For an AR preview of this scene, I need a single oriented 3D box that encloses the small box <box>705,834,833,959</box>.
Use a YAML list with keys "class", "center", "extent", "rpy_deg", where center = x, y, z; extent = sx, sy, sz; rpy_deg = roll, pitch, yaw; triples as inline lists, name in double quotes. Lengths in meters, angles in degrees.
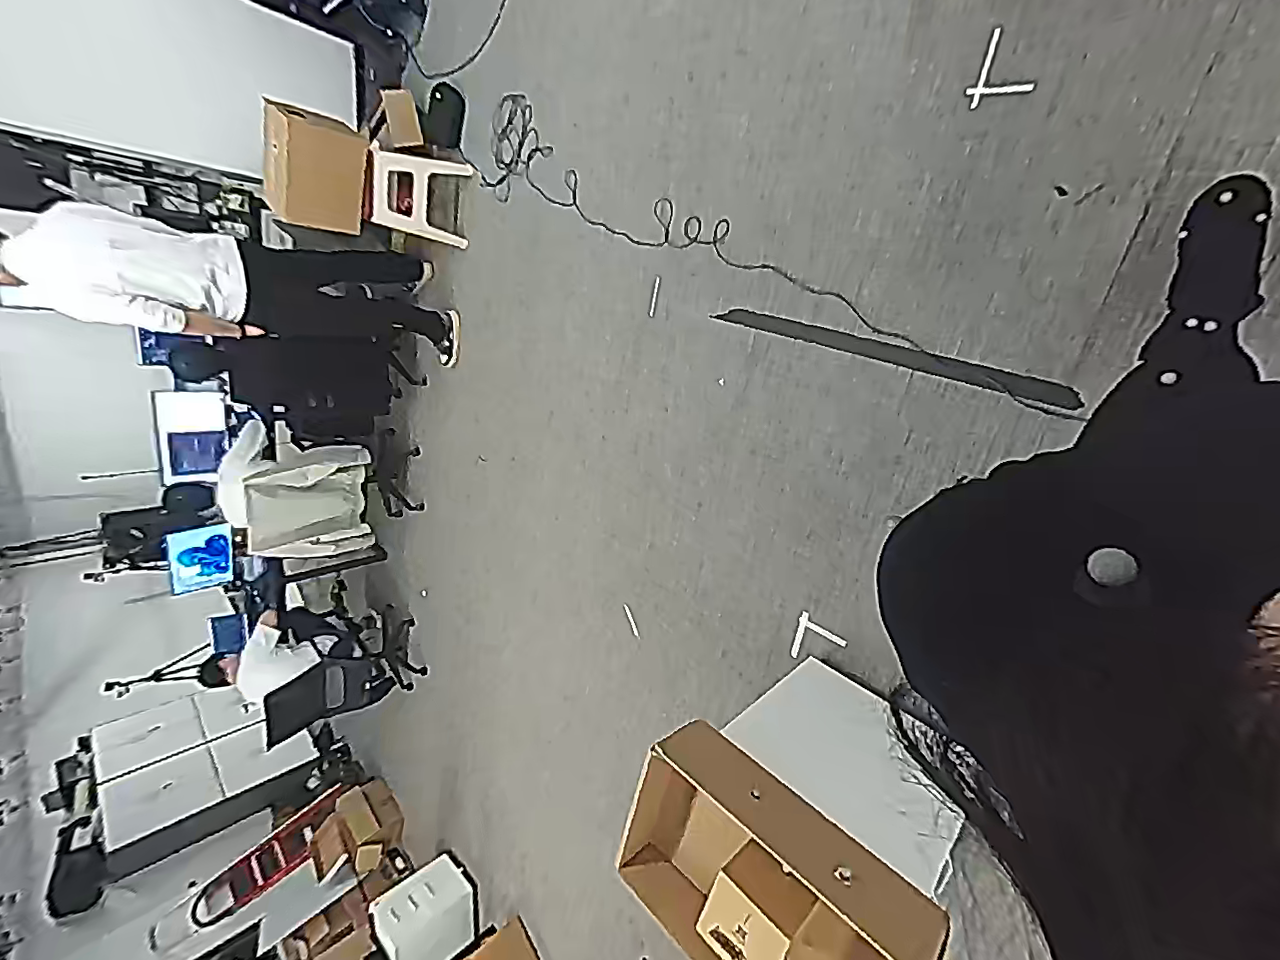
- class: "small box"
  center: [0.265, 0.881, 1.100]
  extent: [0.168, 0.176, 0.179]
  rpy_deg: [28, 111, 38]
